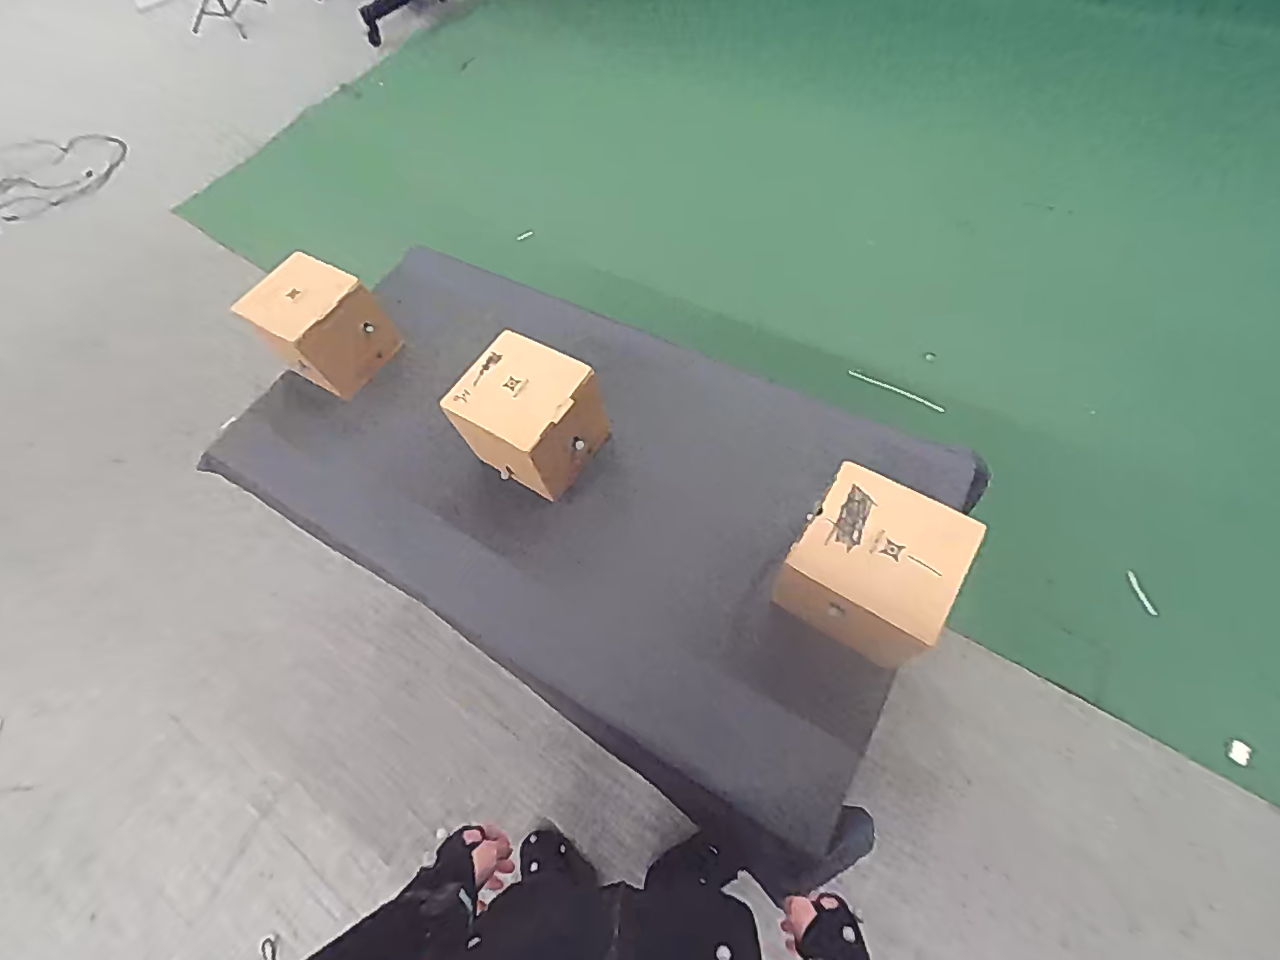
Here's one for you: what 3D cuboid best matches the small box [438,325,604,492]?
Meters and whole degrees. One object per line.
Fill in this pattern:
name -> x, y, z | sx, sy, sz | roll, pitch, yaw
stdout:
small box -> -0.173, -0.103, 0.852 | 0.179, 0.176, 0.168 | 29, 67, 17

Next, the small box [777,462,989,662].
small box -> 0.297, 0.113, 0.701 | 0.179, 0.176, 0.168 | 30, 68, 18

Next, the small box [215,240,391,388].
small box -> -0.596, -0.293, 0.983 | 0.179, 0.176, 0.168 | 26, 65, 17
